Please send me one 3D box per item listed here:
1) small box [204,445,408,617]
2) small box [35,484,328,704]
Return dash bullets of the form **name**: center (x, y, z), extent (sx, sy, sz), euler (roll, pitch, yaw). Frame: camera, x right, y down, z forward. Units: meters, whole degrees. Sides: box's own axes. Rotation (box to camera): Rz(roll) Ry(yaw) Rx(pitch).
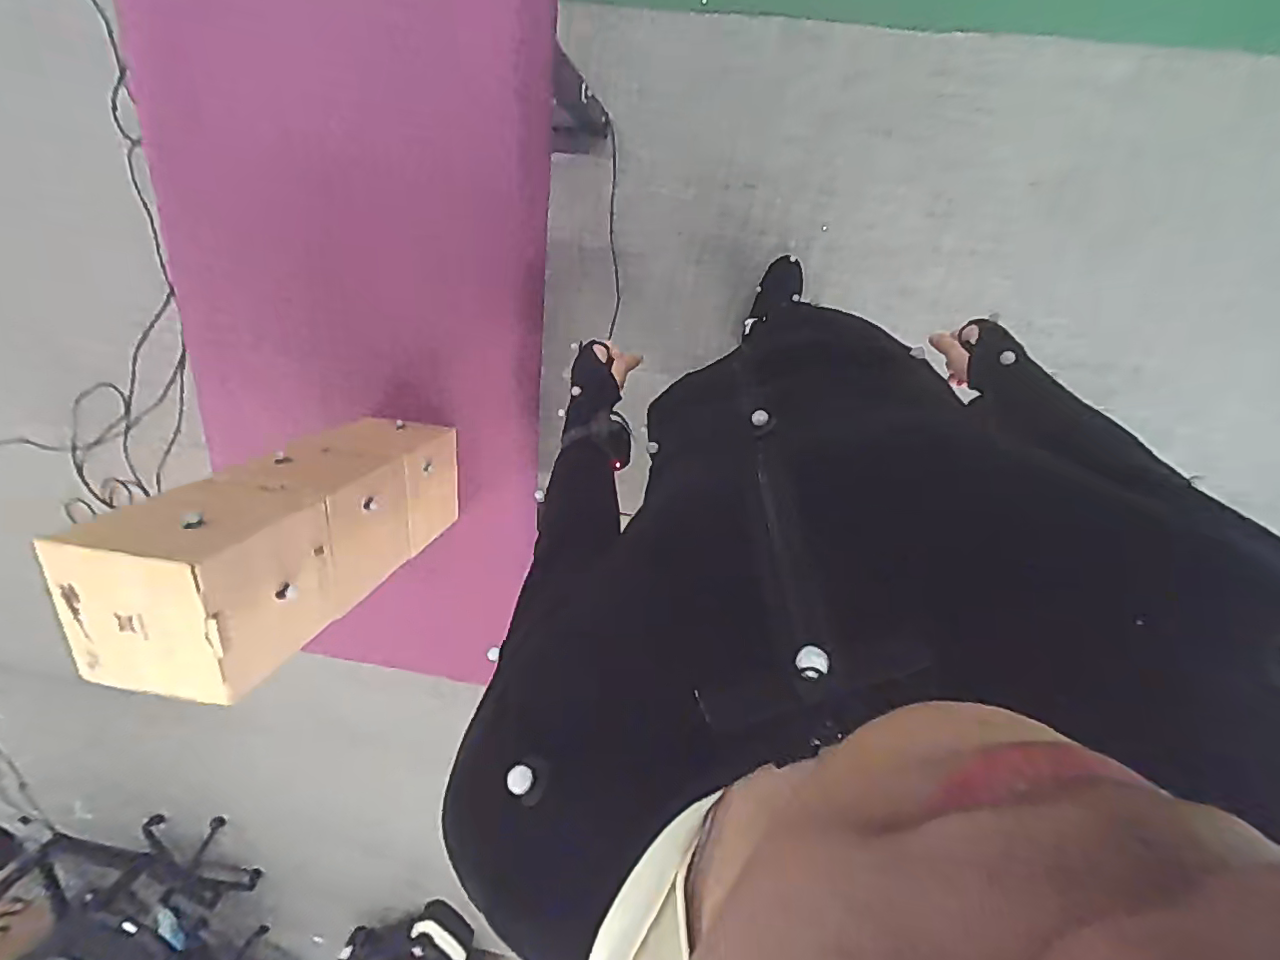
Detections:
- **small box**: center (-0.444, 0.059, 0.749), extent (0.168, 0.176, 0.179), euler (8, 111, 7)
- **small box**: center (-0.475, 0.113, 0.598), extent (0.179, 0.176, 0.168), euler (7, 110, 7)
